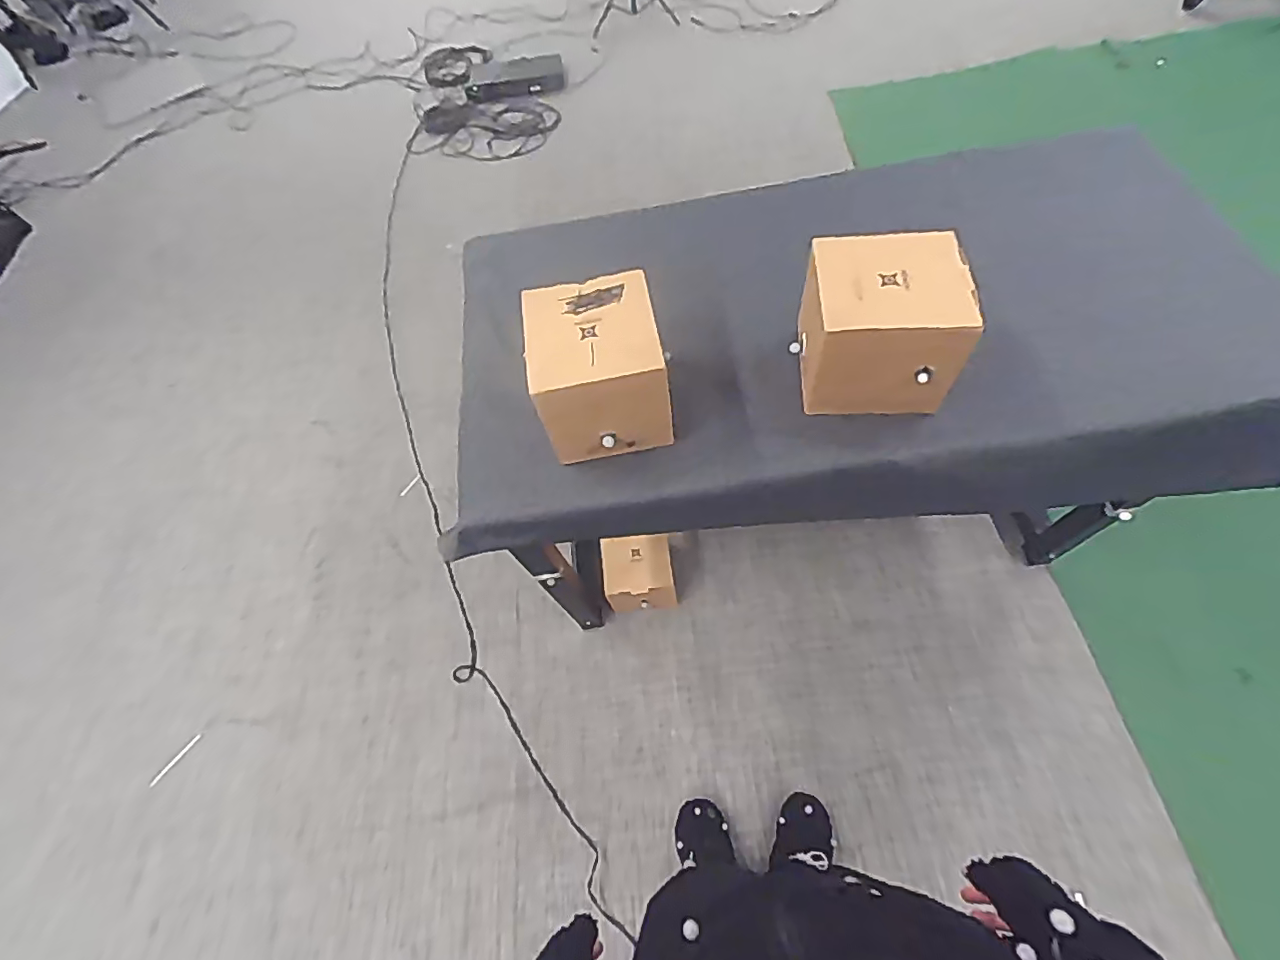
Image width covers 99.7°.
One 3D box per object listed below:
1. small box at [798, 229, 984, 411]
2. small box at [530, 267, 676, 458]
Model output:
[{"bbox_3d":[0.319,-0.207,0.727,0.179,0.176,0.168,-1,61,8],"label":"small box"},{"bbox_3d":[-0.047,-0.155,0.743,0.168,0.176,0.179,-11,61,1],"label":"small box"}]
